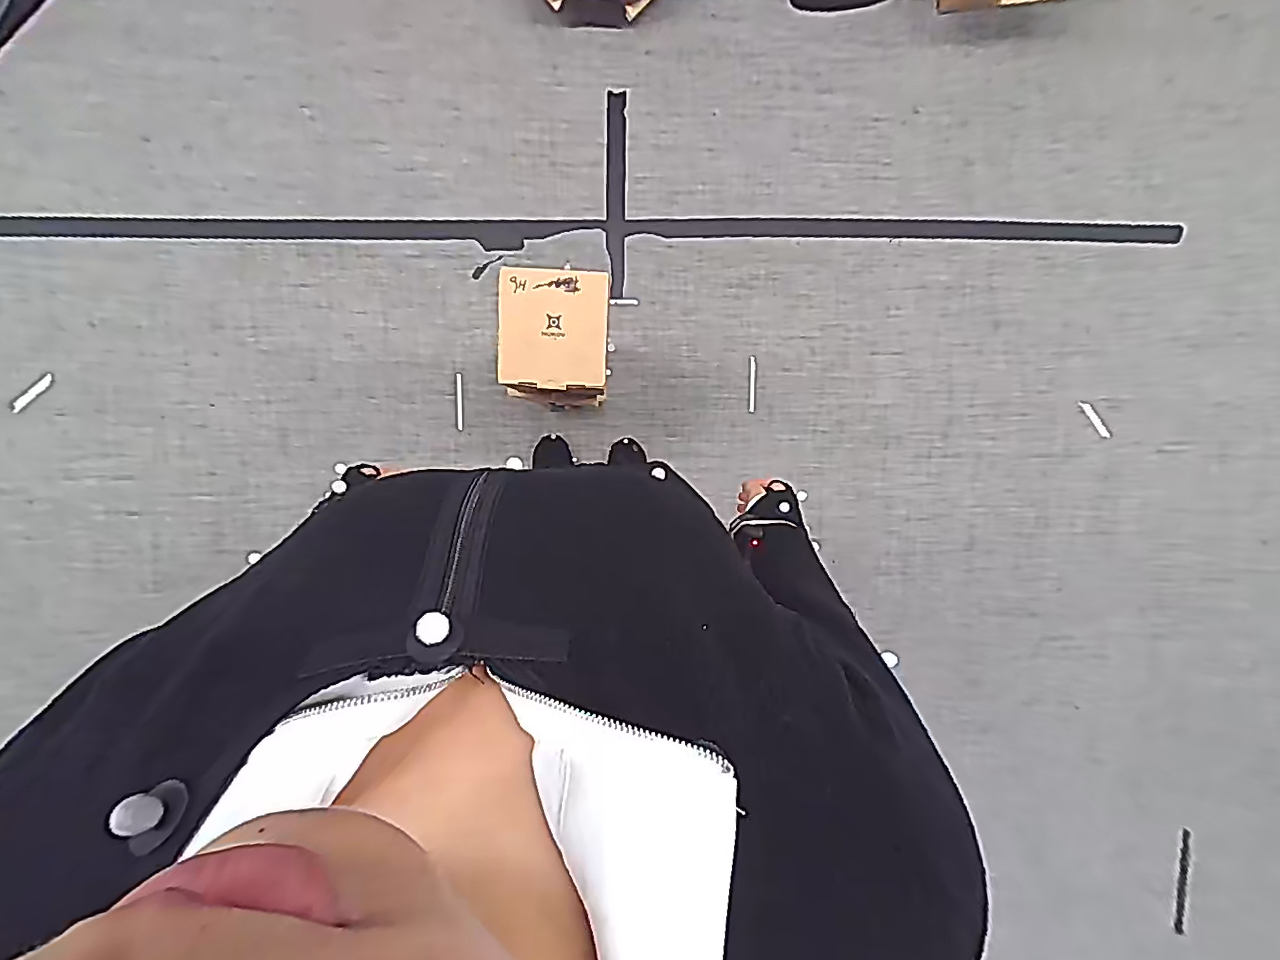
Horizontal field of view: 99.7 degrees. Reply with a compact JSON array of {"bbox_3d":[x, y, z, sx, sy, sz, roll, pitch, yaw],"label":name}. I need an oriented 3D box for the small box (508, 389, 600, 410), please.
[{"bbox_3d":[-0.155,-0.234,1.055,0.168,0.176,0.179,6,96,-3],"label":"small box"}]

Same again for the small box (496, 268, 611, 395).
[{"bbox_3d":[-0.135,-0.233,0.892,0.168,0.176,0.179,3,96,-3],"label":"small box"}]
